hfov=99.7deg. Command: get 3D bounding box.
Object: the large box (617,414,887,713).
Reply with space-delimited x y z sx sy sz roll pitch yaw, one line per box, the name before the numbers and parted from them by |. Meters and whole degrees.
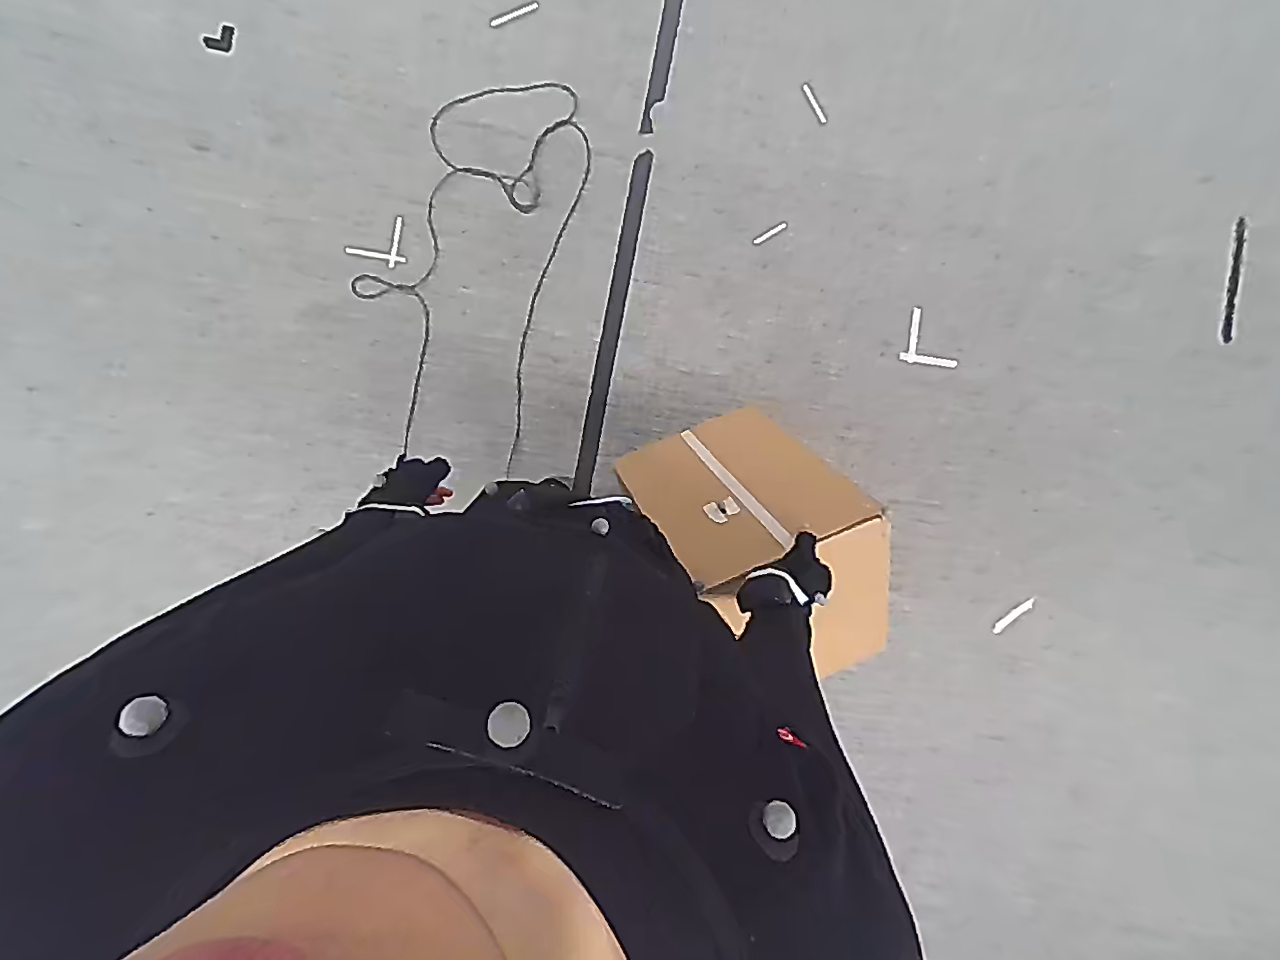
large box | 0.187 0.131 1.007 0.320 0.408 0.320 -22 125 -8
